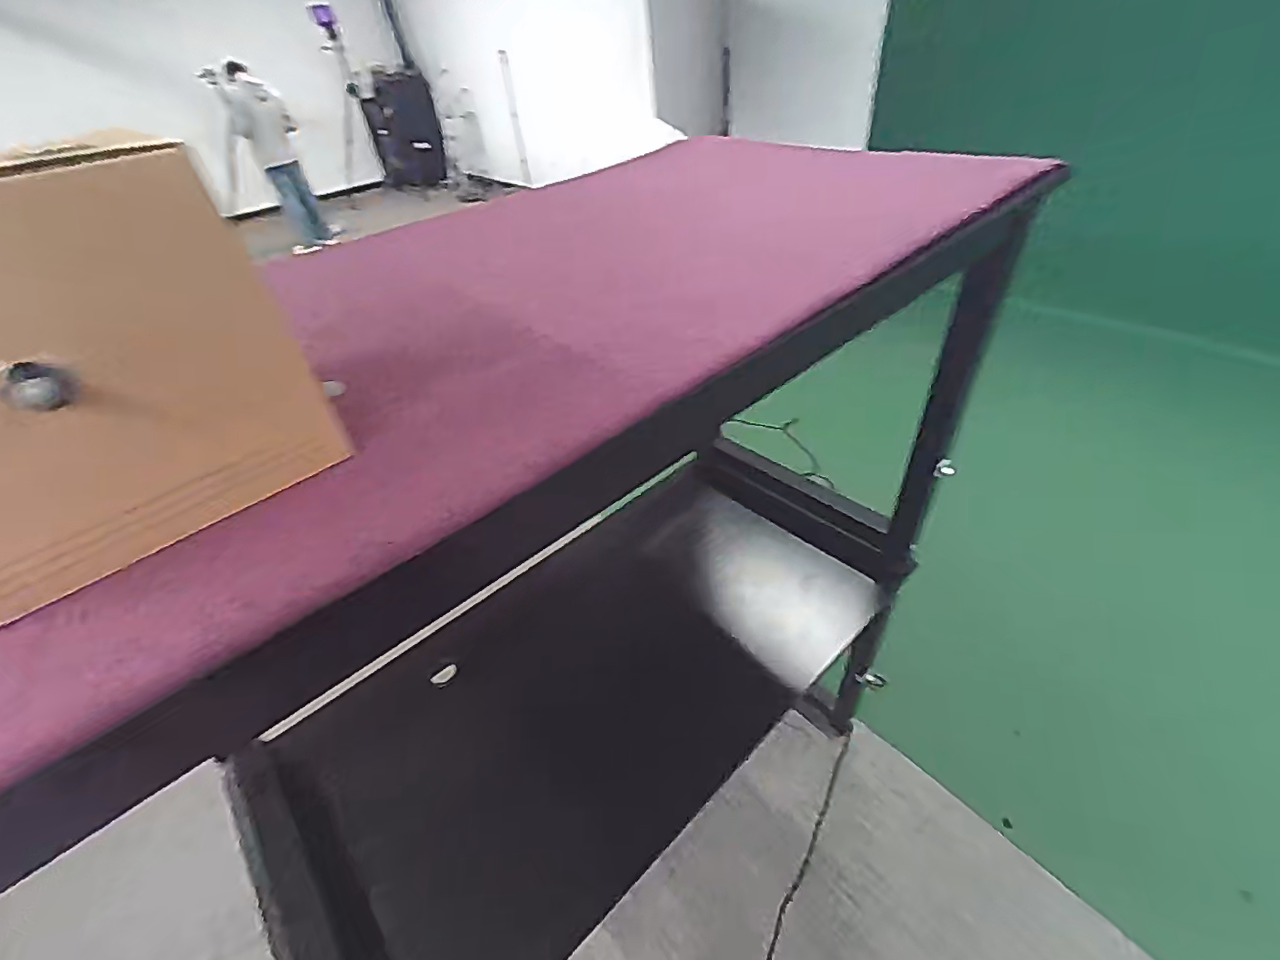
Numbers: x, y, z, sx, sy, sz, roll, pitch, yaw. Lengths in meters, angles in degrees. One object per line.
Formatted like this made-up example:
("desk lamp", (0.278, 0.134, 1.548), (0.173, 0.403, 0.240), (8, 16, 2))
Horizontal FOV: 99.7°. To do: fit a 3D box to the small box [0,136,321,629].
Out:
("small box", (-0.301, -0.062, 0.282), (0.179, 0.176, 0.168), (-36, 47, -29))
